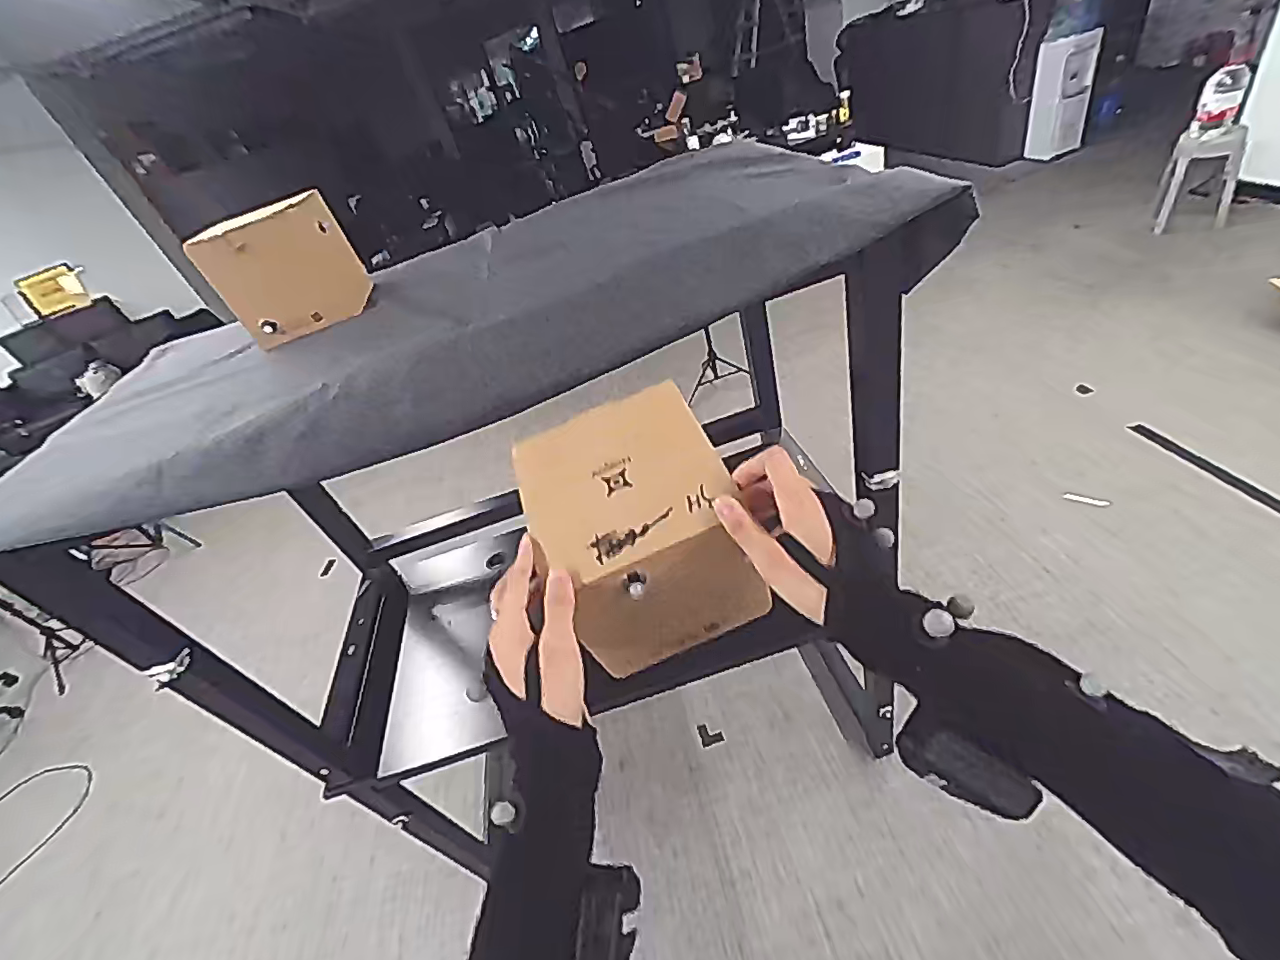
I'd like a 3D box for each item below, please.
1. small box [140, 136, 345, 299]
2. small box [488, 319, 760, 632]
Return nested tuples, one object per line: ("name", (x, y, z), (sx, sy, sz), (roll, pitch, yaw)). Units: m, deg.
("small box", (-0.586, -0.399, 0.830), (0.168, 0.176, 0.179), (-21, 39, -2))
("small box", (-0.013, -0.002, 0.470), (0.168, 0.176, 0.179), (-25, 47, 1))
